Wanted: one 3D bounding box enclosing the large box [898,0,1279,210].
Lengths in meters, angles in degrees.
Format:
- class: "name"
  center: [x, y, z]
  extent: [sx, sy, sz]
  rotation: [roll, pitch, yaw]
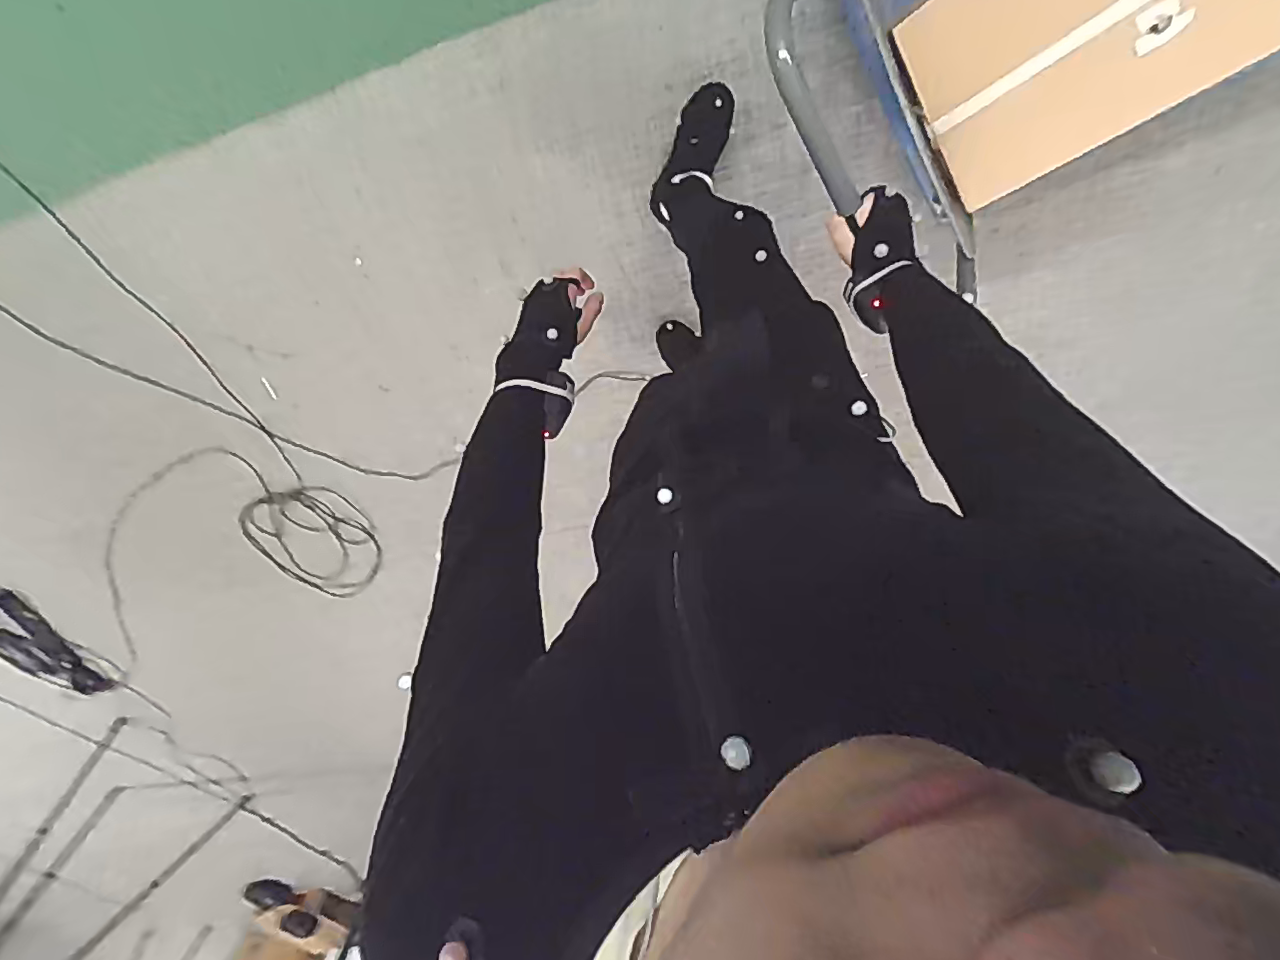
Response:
- class: "large box"
  center: [0.668, -0.712, 0.840]
  extent: [0.408, 0.320, 0.320]
  rotation: [-22, 118, 38]
